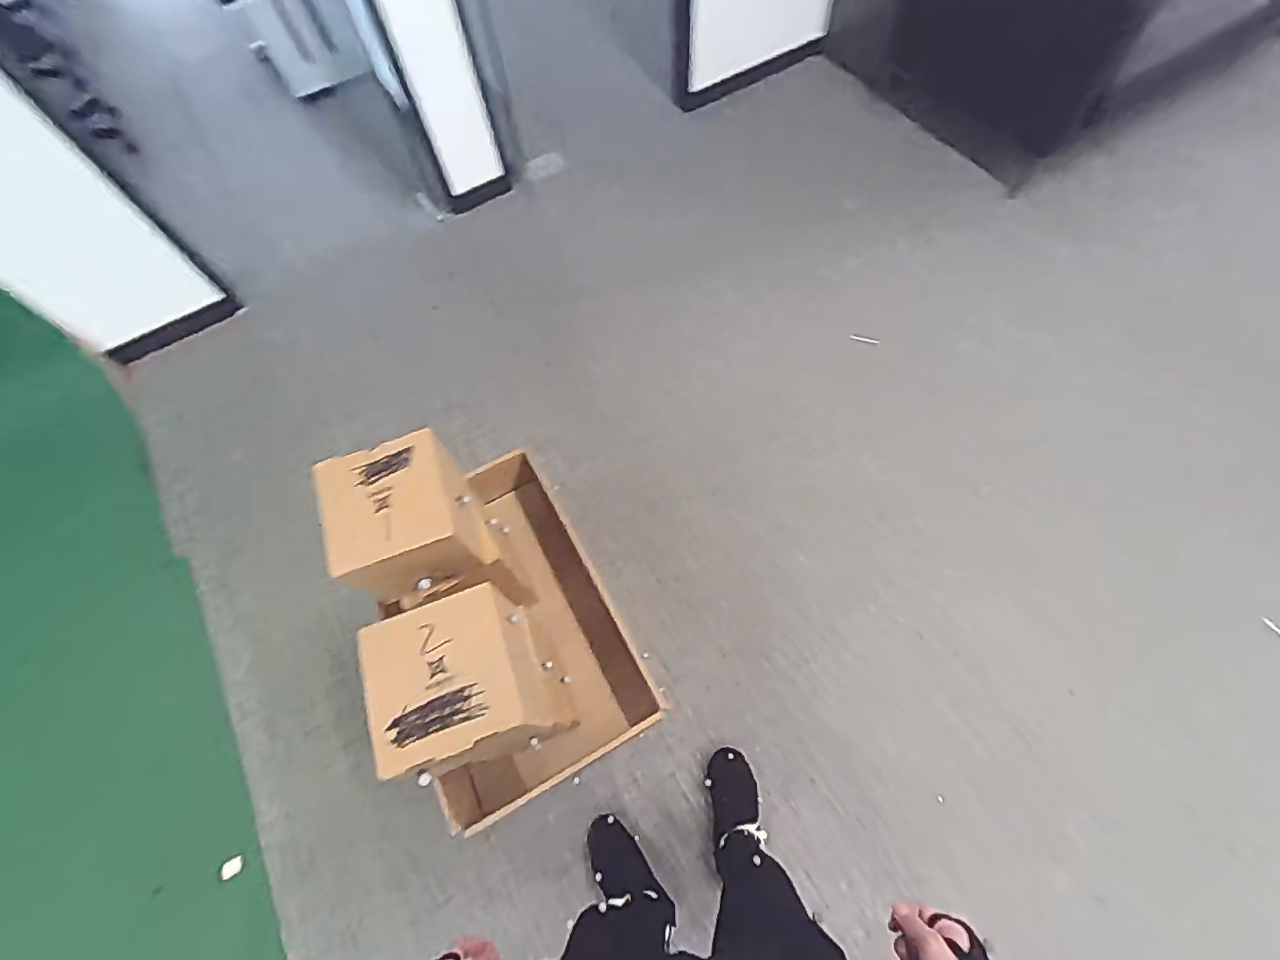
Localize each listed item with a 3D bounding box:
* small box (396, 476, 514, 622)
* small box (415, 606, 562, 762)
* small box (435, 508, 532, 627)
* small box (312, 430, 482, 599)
[{"bbox_3d":[-0.345,0.127,0.957,0.168,0.176,0.179,-29,69,-12],"label":"small box"},{"bbox_3d":[-0.232,0.324,0.855,0.168,0.176,0.179,-18,64,-7],"label":"small box"},{"bbox_3d":[-0.341,0.192,1.106,0.168,0.176,0.179,-29,68,-10],"label":"small box"},{"bbox_3d":[-0.354,0.057,0.809,0.168,0.176,0.179,-20,68,-8],"label":"small box"}]
